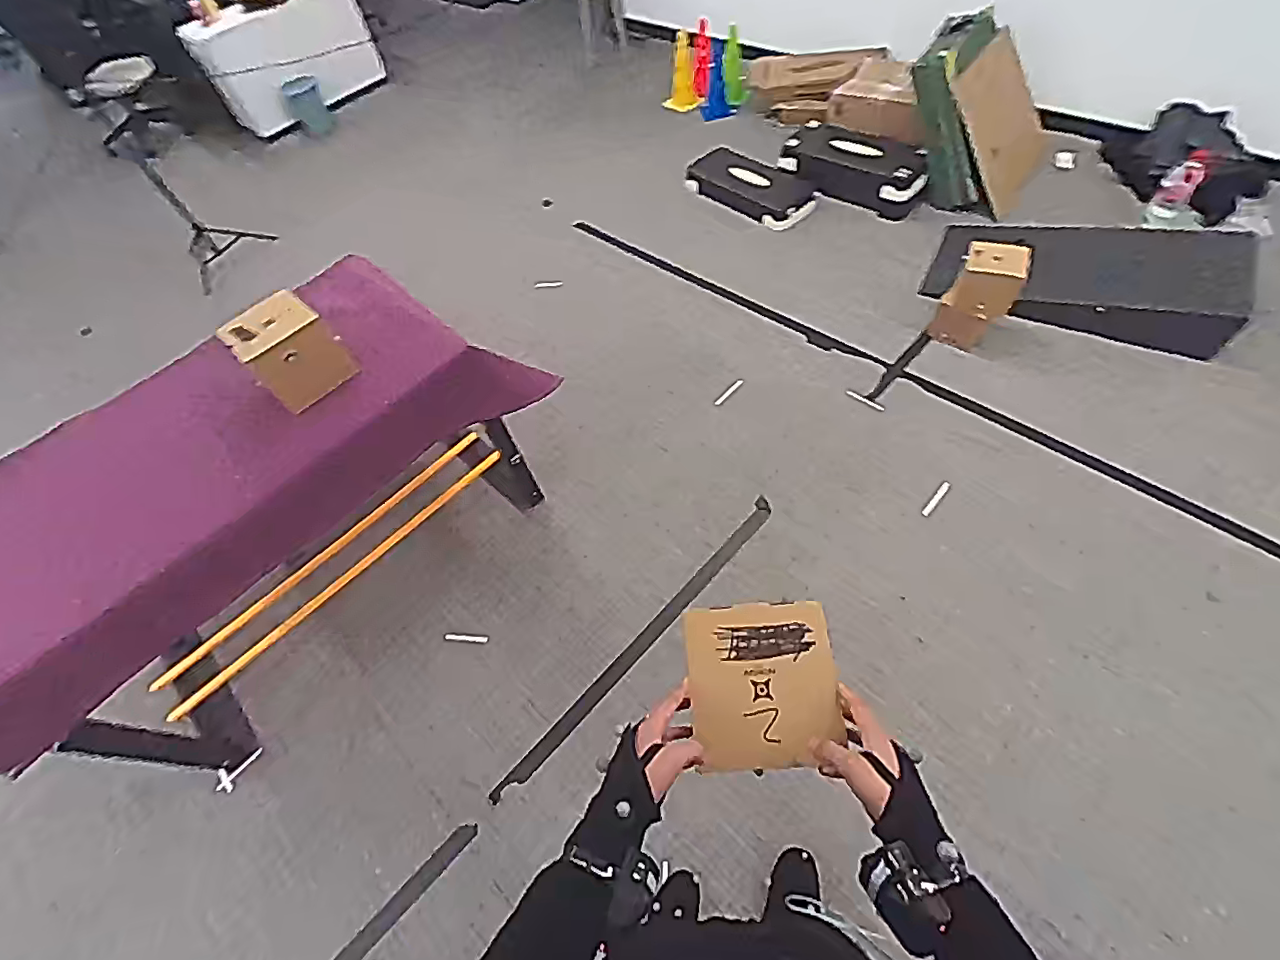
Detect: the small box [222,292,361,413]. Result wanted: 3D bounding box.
[{"bbox_3d":[-0.786,-0.286,1.233,0.168,0.176,0.179,36,68,26],"label":"small box"}]
